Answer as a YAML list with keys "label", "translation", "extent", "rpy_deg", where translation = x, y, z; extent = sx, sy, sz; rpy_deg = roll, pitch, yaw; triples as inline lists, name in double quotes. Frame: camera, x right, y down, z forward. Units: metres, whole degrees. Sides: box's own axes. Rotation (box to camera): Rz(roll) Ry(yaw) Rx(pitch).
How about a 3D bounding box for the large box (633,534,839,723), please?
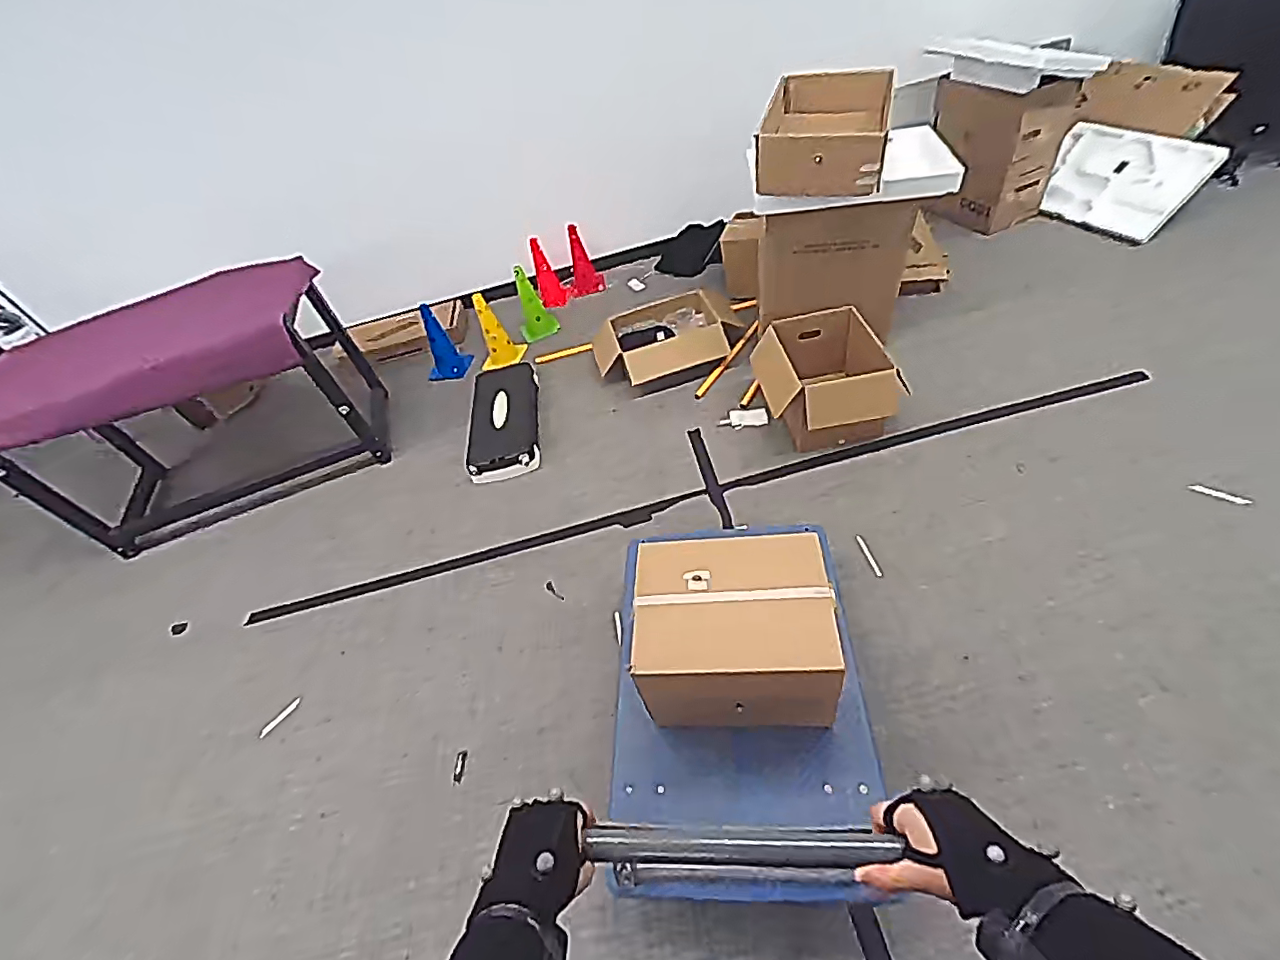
- label: "large box"
  translation: [0.216, 0.353, 1.252]
  extent: [0.408, 0.320, 0.320]
  rpy_deg: [-6, 46, 10]
